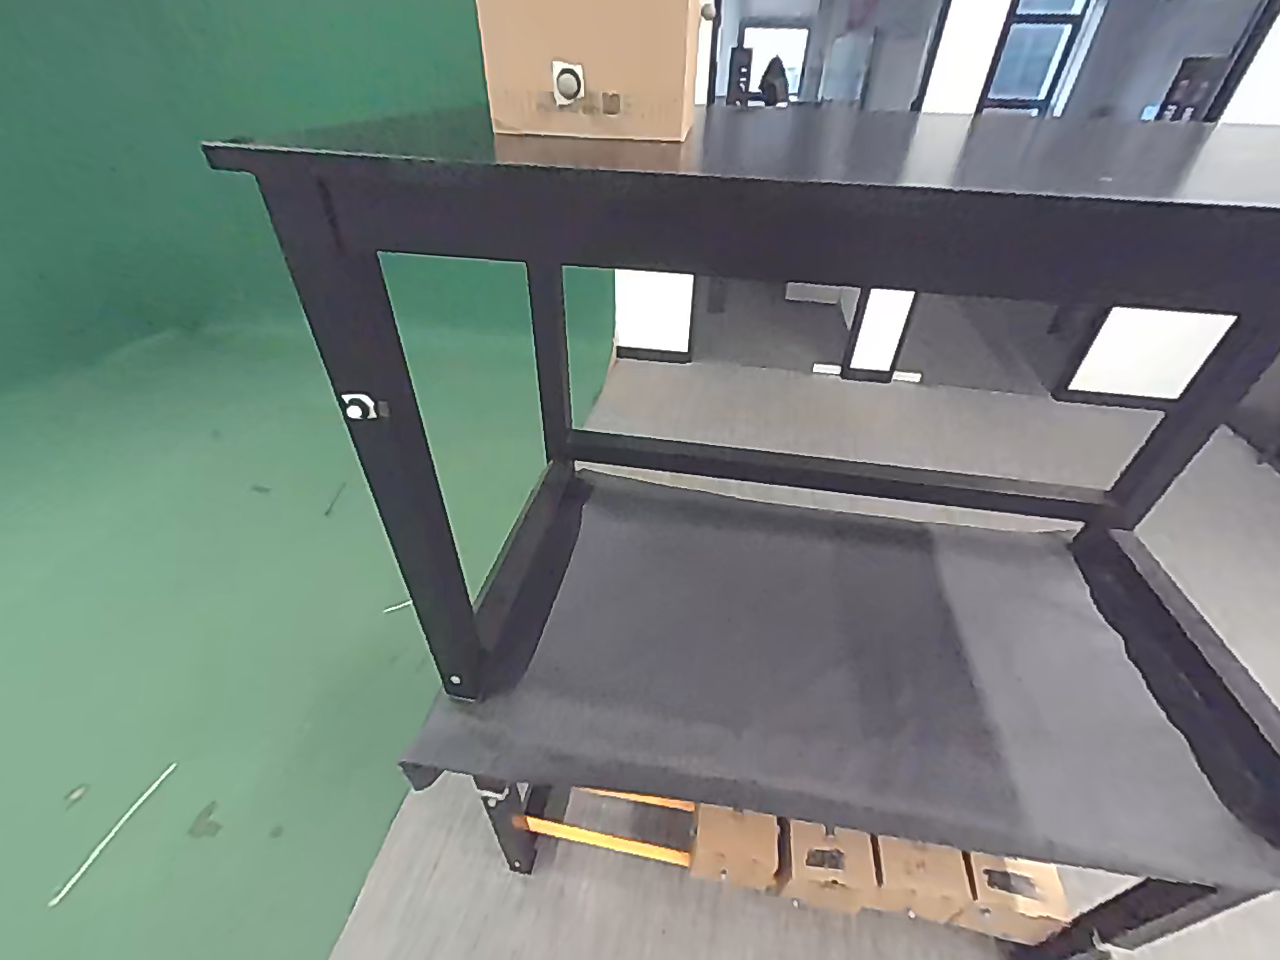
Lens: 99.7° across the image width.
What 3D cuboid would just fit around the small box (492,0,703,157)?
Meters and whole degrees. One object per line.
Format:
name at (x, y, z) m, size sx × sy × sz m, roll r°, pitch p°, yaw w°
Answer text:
small box at (-0.030, -0.403, 0.486) m, size 0.168 × 0.176 × 0.179 m, roll 4°, pitch 39°, yaw 5°
